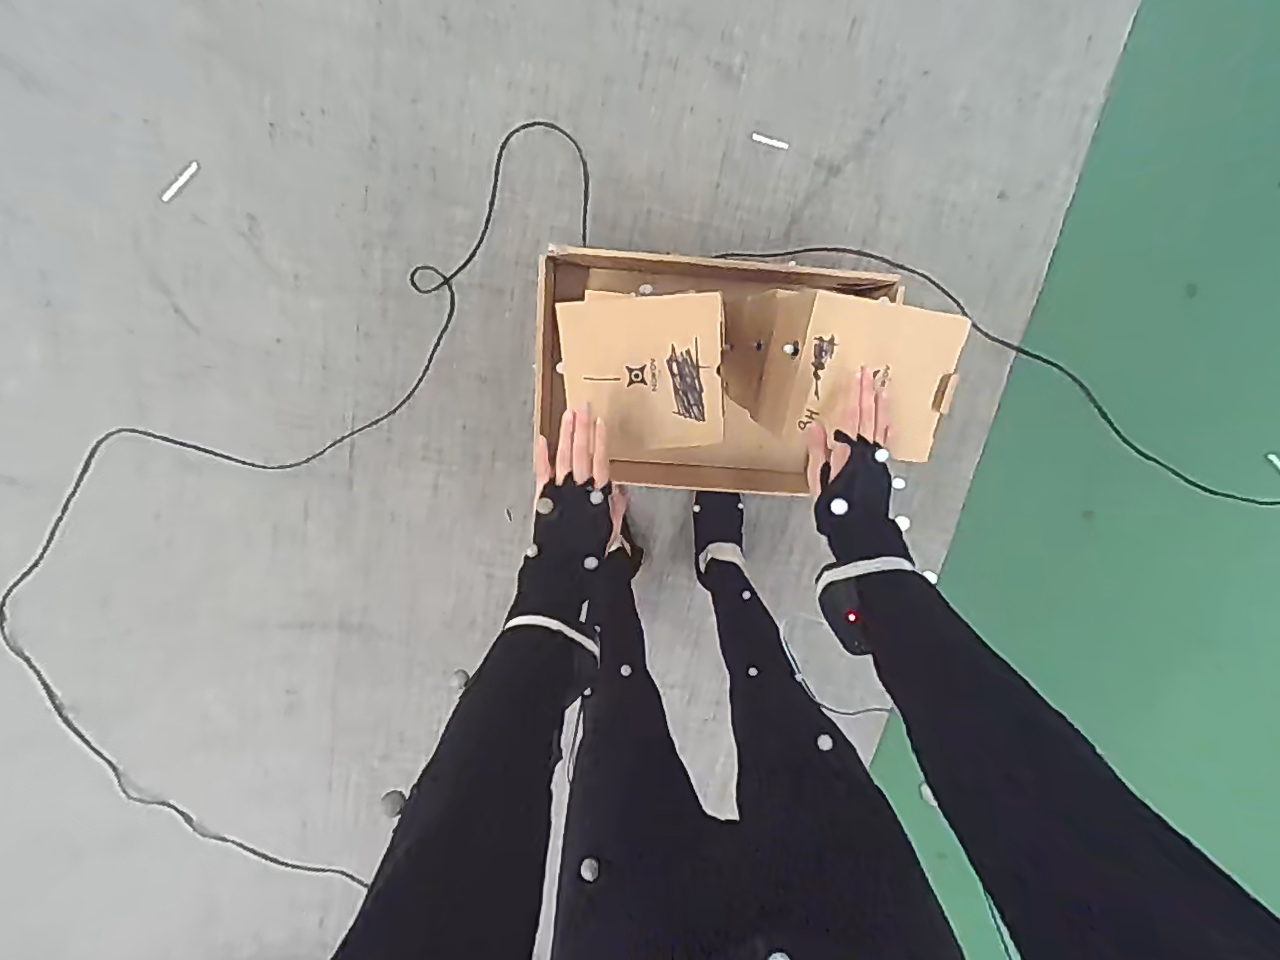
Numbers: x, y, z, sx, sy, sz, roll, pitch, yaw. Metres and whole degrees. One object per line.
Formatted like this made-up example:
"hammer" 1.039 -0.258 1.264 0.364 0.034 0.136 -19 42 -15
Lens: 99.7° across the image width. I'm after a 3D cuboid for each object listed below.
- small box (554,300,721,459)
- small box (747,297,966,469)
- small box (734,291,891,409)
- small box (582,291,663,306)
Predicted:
"small box" -0.004 -0.131 0.662 0.179 0.176 0.168 -5 107 -1
"small box" 0.249 -0.125 0.670 0.179 0.176 0.168 9 105 -4
"small box" 0.248 -0.182 0.825 0.168 0.176 0.179 6 106 -3
"small box" -0.017 -0.241 0.970 0.179 0.176 0.168 4 106 -6
